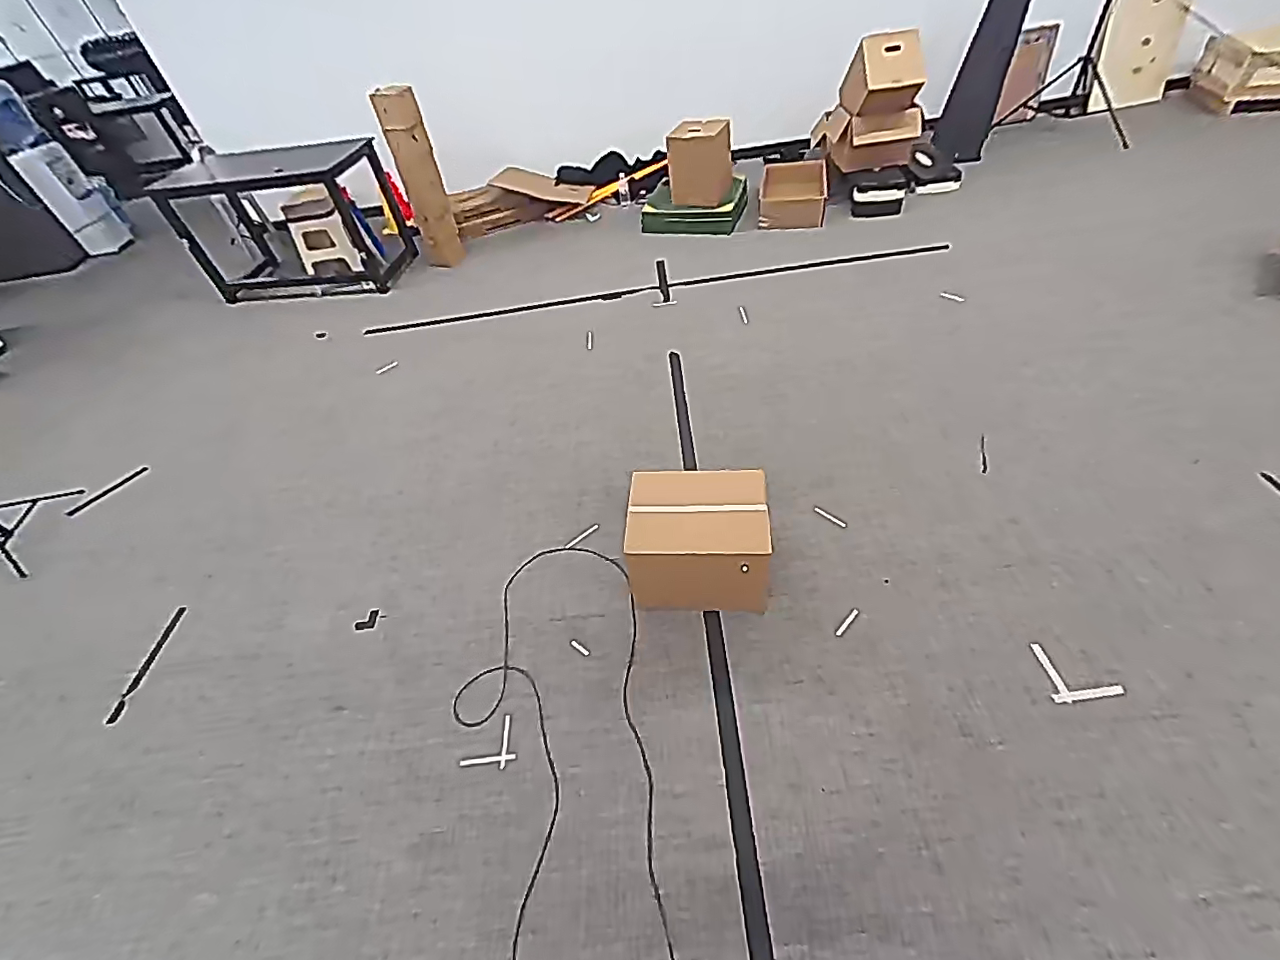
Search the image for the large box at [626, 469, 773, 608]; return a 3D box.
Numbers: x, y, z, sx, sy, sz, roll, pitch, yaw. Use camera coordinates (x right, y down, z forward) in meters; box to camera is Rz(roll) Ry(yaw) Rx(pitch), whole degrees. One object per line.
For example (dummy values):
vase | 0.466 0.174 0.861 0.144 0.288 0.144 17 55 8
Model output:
large box | 0.184 0.186 1.667 0.408 0.320 0.320 -1 47 7
